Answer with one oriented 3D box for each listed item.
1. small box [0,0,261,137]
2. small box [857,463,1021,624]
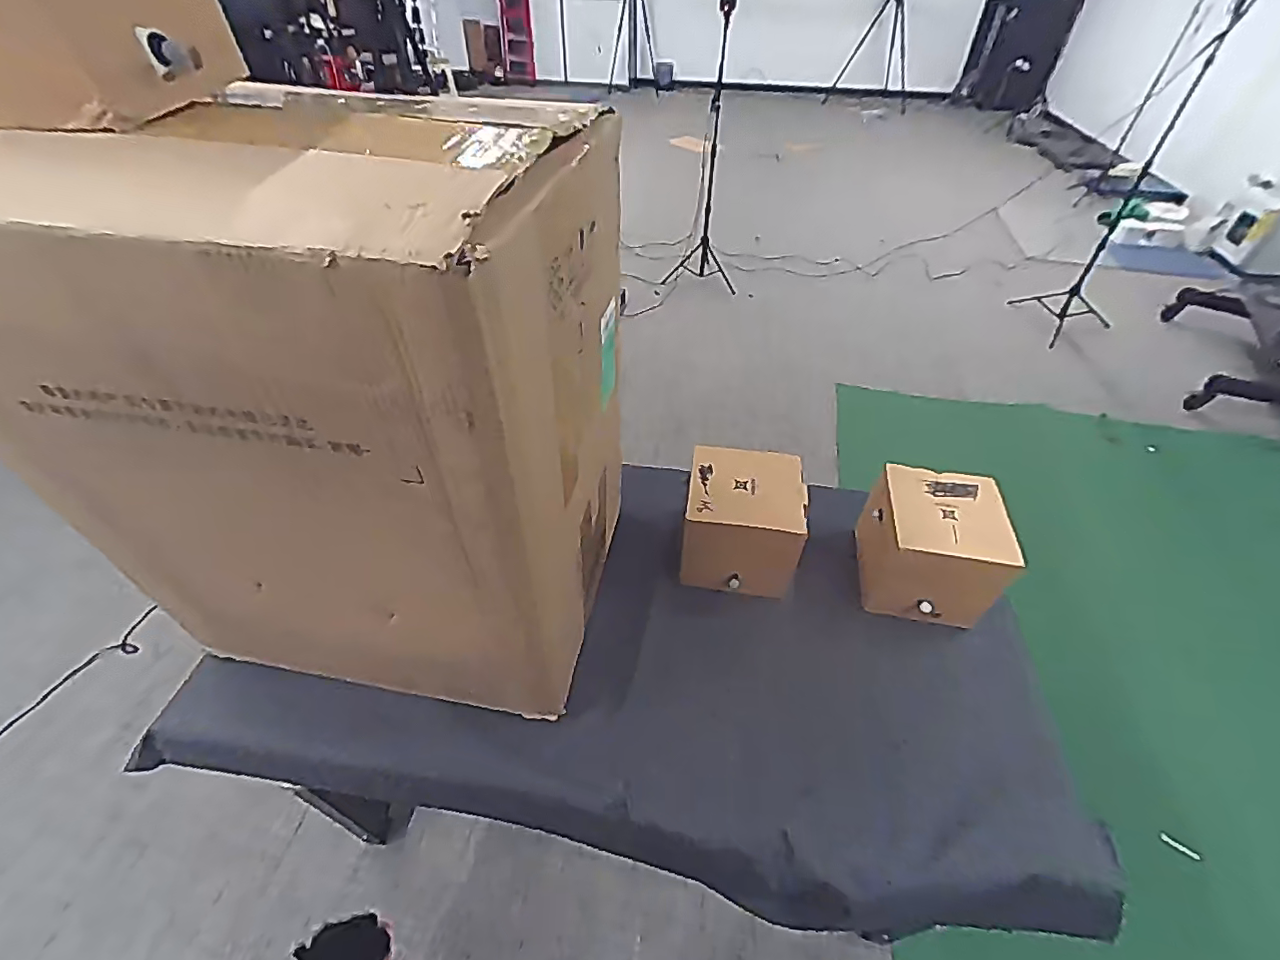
[{"bbox_3d":[-0.445,-0.378,0.404,0.179,0.176,0.168,5,50,2],"label":"small box"},{"bbox_3d":[0.456,0.101,0.862,0.168,0.176,0.179,8,46,8],"label":"small box"}]
